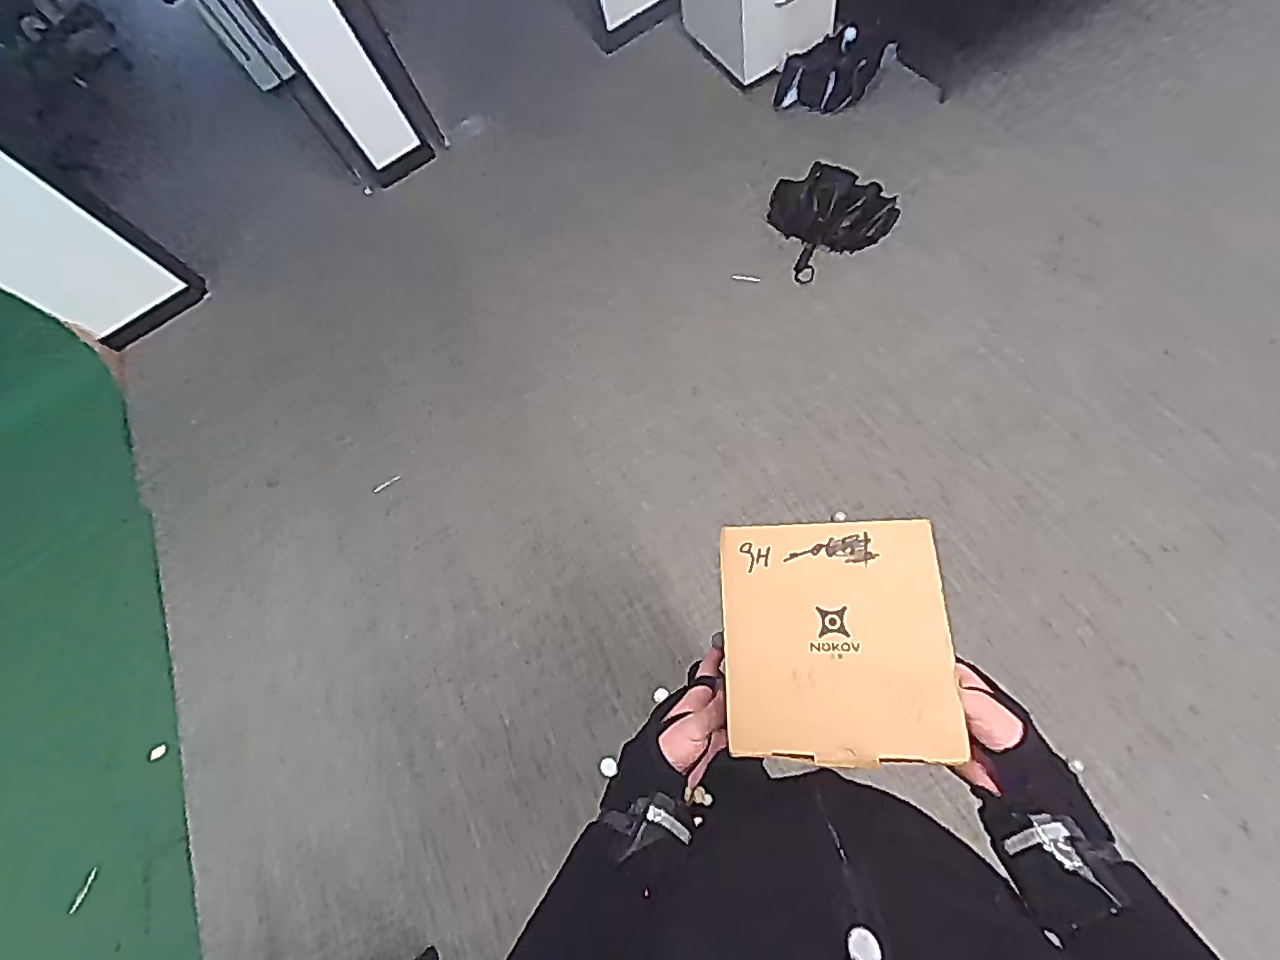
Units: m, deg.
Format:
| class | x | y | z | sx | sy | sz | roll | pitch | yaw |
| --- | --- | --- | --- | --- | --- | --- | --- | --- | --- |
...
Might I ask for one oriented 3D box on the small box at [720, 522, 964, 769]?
| class | x | y | z | sx | sy | sz | roll | pitch | yaw |
| --- | --- | --- | --- | --- | --- | --- | --- | --- | --- |
| small box | 0.159 | 0.141 | 0.484 | 0.168 | 0.176 | 0.179 | -2 | 72 | 9 |
